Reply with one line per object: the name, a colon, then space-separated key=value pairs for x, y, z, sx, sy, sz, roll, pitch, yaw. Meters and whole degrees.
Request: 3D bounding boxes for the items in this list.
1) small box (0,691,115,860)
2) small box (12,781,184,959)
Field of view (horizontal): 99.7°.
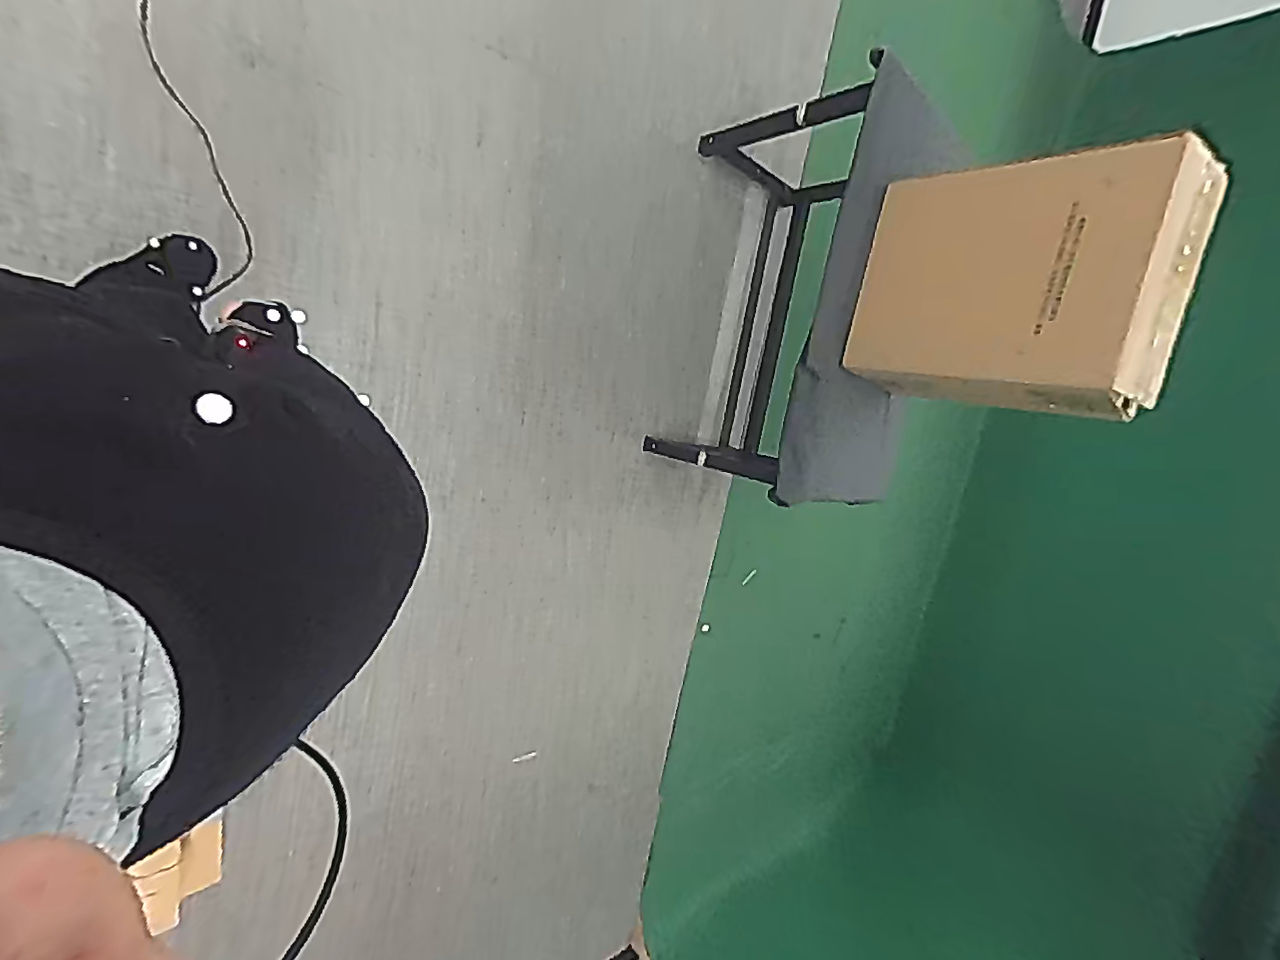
small box: x=-0.990 y=0.477 z=0.886 sx=0.179 sy=0.176 sz=0.168 roll=-6 pitch=107 yaw=-40
small box: x=-0.834 y=0.618 z=0.844 sx=0.179 sy=0.176 sz=0.168 roll=-1 pitch=104 yaw=-44
